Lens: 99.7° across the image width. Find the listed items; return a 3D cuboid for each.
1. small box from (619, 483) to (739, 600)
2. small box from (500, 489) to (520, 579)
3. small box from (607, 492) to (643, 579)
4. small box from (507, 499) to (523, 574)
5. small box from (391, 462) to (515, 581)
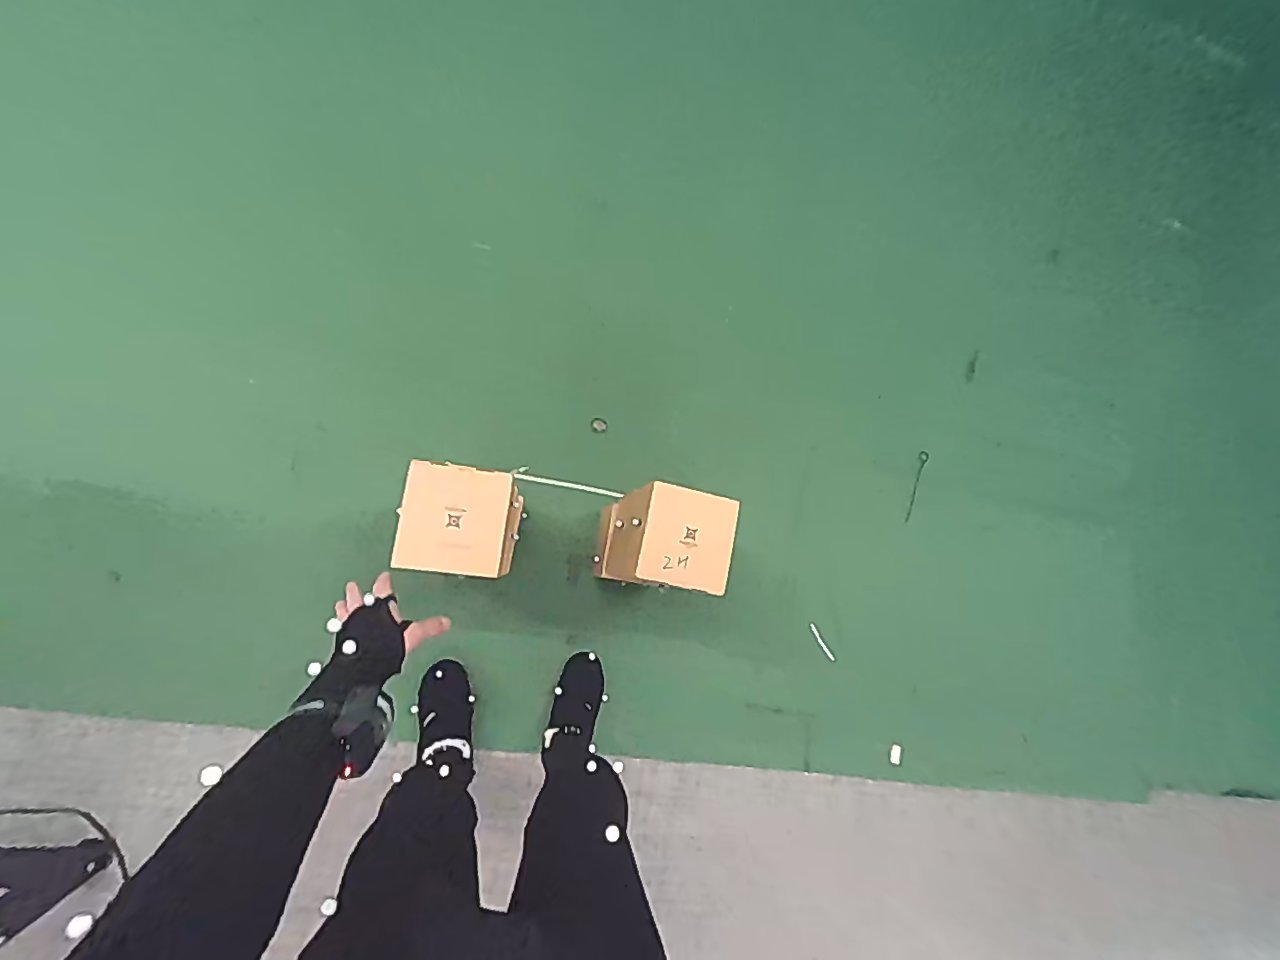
[{"bbox_3d":[0.067,0.118,1.021,0.168,0.176,0.179,15,79,-11],"label":"small box"},{"bbox_3d":[-0.343,0.105,1.102,0.168,0.176,0.179,9,80,-11],"label":"small box"},{"bbox_3d":[0.033,0.139,1.181,0.168,0.176,0.179,14,78,-11],"label":"small box"},{"bbox_3d":[-0.369,0.125,1.263,0.168,0.176,0.179,11,78,-11],"label":"small box"},{"bbox_3d":[-0.314,0.080,0.943,0.168,0.176,0.179,9,79,-10],"label":"small box"}]
